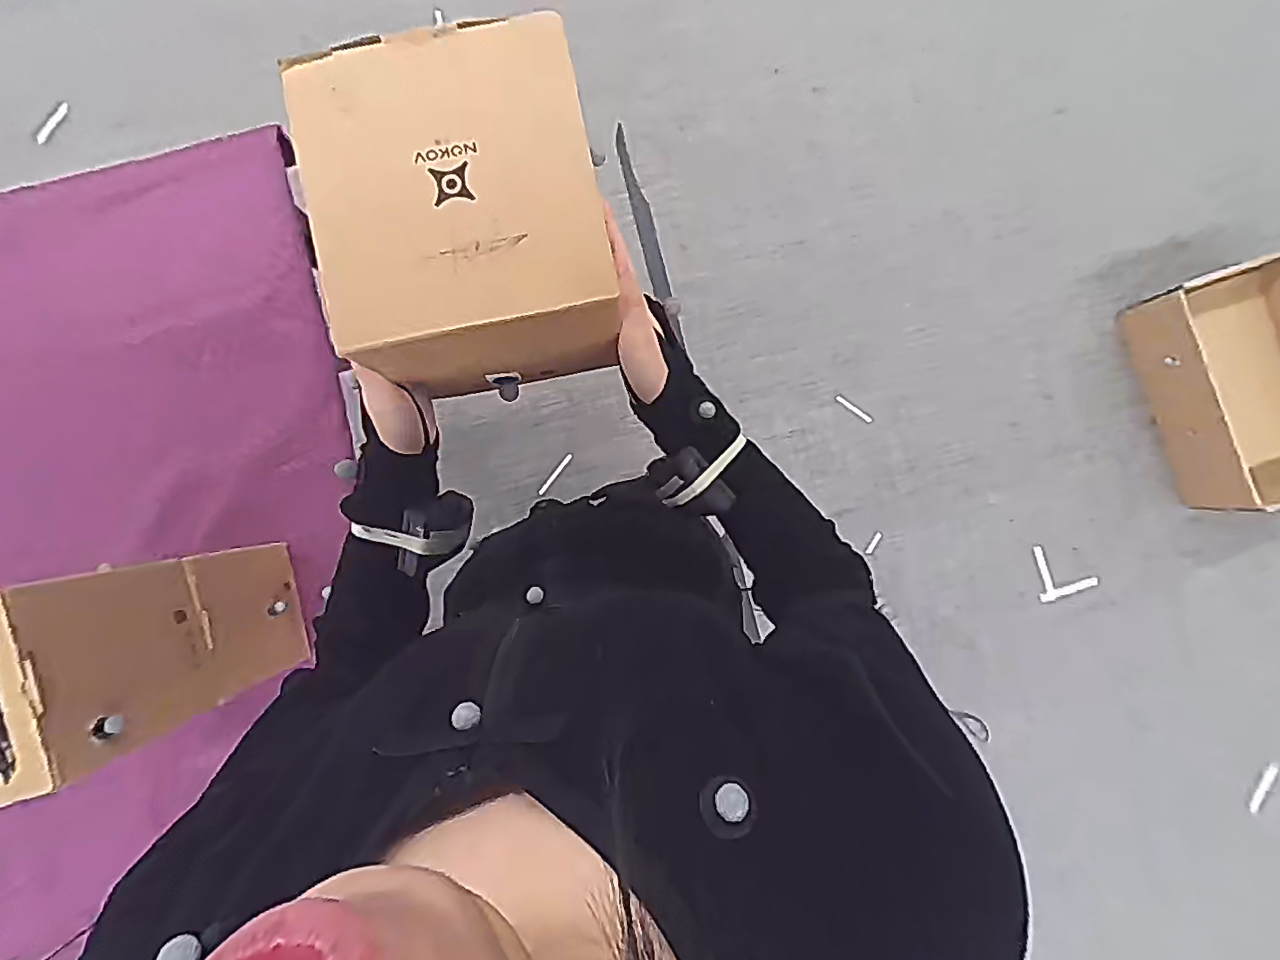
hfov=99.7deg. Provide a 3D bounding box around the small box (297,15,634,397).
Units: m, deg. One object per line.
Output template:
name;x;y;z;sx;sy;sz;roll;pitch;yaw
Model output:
small box;-0.104;-0.172;0.392;0.168;0.176;0.179;-12;90;-2

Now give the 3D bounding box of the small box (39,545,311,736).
small box;-0.553;0.183;0.667;0.179;0.176;0.168;-13;90;-2
